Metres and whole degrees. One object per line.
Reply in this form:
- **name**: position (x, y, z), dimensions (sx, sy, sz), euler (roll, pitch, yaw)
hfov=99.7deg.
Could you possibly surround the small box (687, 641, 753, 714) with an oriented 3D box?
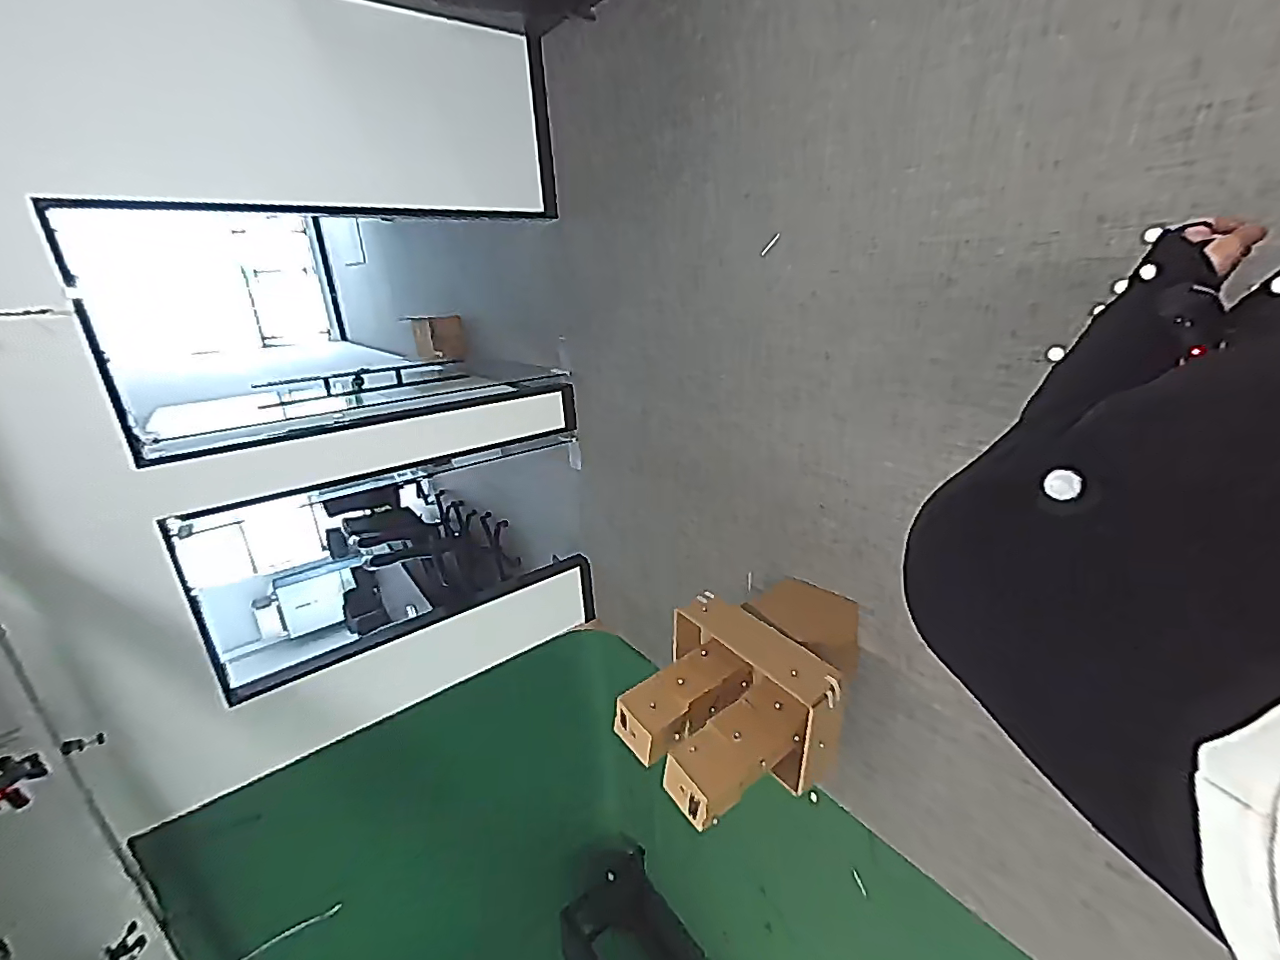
- **small box**: position (0.289, 0.716, 1.978), dimensions (0.179, 0.176, 0.168), euler (23, 123, 46)

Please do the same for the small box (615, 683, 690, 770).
- **small box**: position (0.038, 0.803, 1.789), dimensions (0.179, 0.176, 0.168), euler (32, 129, 40)

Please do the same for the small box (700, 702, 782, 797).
- **small box**: position (0.319, 0.841, 1.704), dimensions (0.179, 0.176, 0.168), euler (37, 131, 41)

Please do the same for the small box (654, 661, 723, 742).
- **small box**: position (0.166, 0.758, 1.882), dimensions (0.179, 0.176, 0.168), euler (22, 121, 45)
